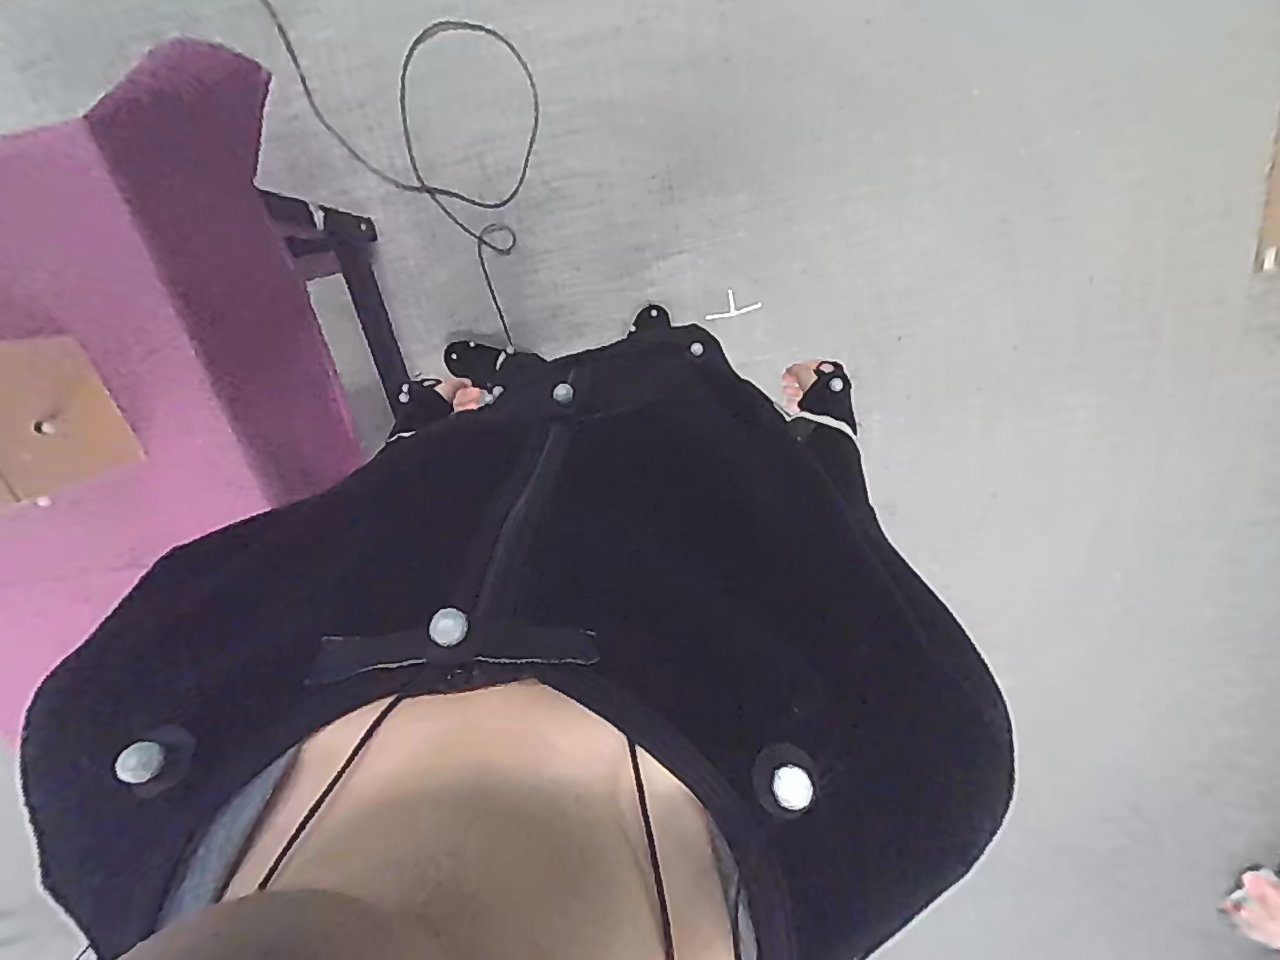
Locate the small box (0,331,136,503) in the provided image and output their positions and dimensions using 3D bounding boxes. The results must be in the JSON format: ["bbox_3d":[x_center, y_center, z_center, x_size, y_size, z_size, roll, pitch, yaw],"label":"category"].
[{"bbox_3d":[-0.778,-0.068,0.646,0.168,0.176,0.179,-14,109,4],"label":"small box"}]
